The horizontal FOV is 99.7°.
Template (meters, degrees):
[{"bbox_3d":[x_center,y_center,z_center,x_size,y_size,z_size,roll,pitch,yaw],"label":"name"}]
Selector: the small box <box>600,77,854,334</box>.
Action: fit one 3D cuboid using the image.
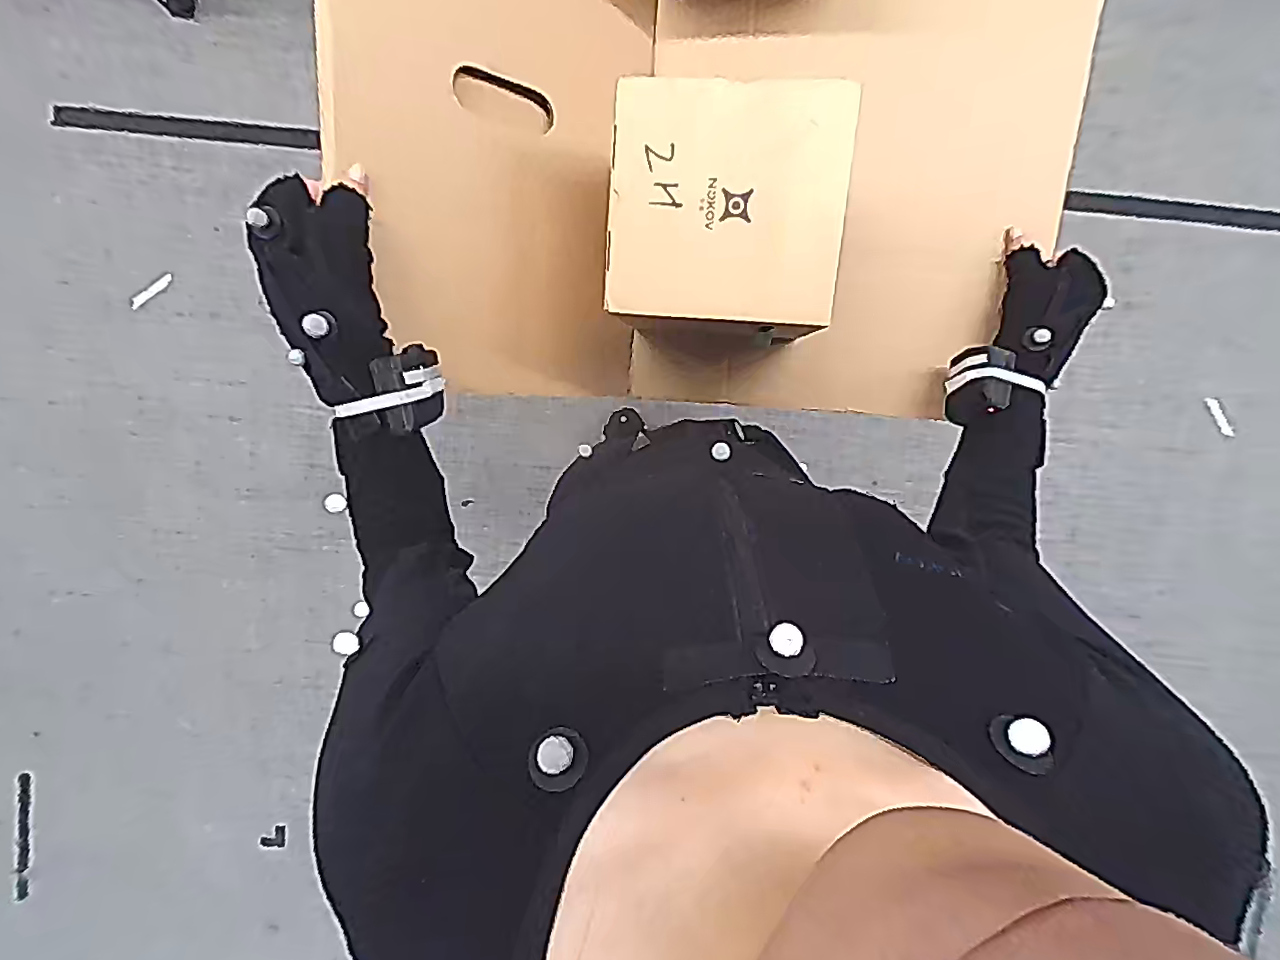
[{"bbox_3d":[0.070,-0.225,0.485,0.179,0.176,0.168,6,102,7],"label":"small box"}]
